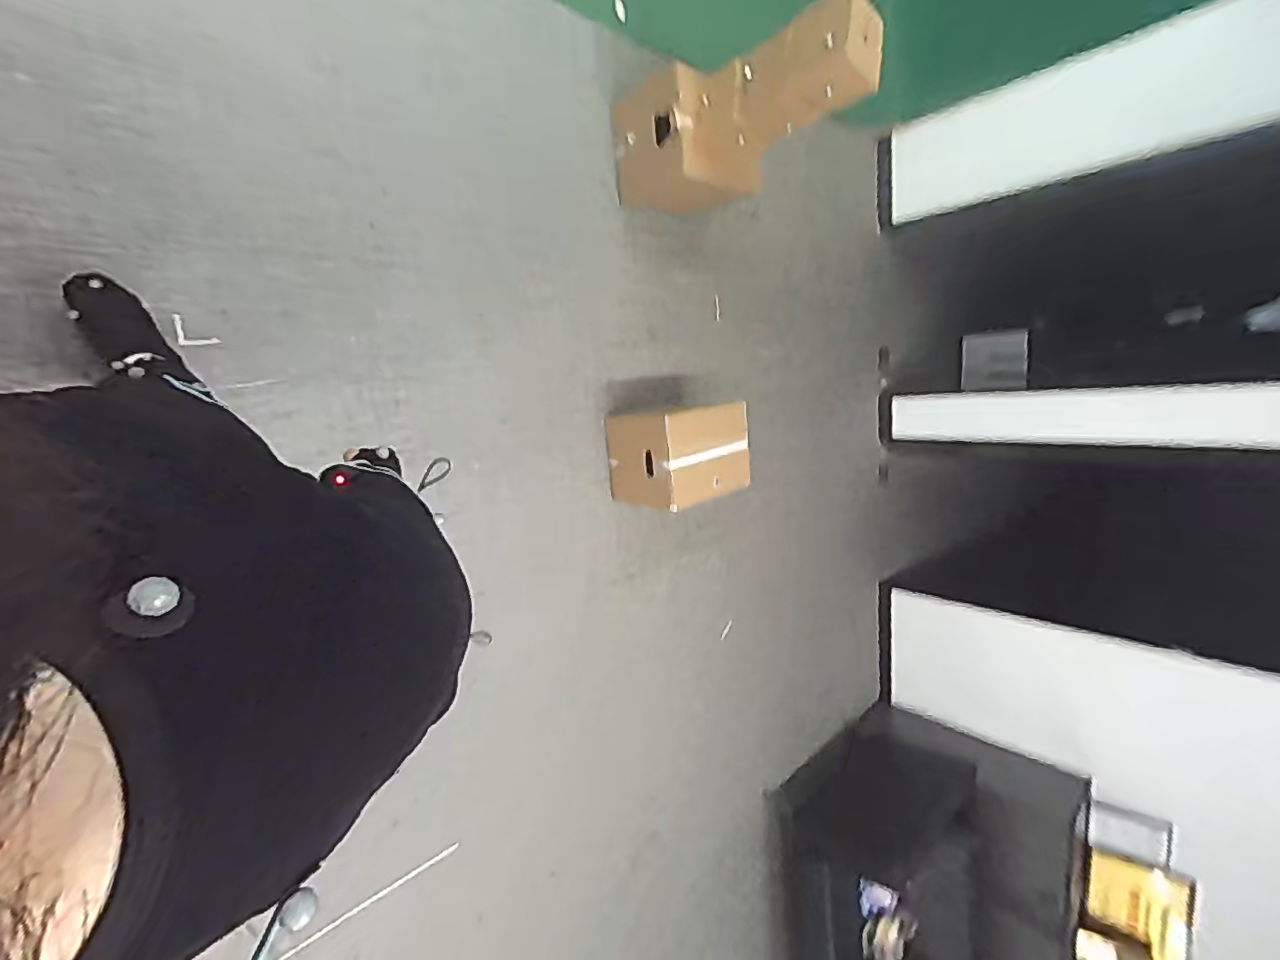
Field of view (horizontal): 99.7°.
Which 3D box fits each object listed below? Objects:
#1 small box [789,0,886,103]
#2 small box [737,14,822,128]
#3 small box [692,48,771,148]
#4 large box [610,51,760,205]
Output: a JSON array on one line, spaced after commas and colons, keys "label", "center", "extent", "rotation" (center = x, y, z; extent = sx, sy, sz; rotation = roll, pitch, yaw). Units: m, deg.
[{"label": "small box", "center": [0.500, -1.116, 1.380], "extent": [0.168, 0.176, 0.179], "rotation": [4, 92, -42]}, {"label": "small box", "center": [0.395, -1.122, 1.506], "extent": [0.179, 0.176, 0.168], "rotation": [3, 92, -41]}, {"label": "small box", "center": [0.281, -1.131, 1.622], "extent": [0.179, 0.176, 0.168], "rotation": [-2, 96, -41]}, {"label": "large box", "center": [0.158, -1.158, 1.836], "extent": [0.408, 0.320, 0.320], "rotation": [-16, 106, -40]}]
